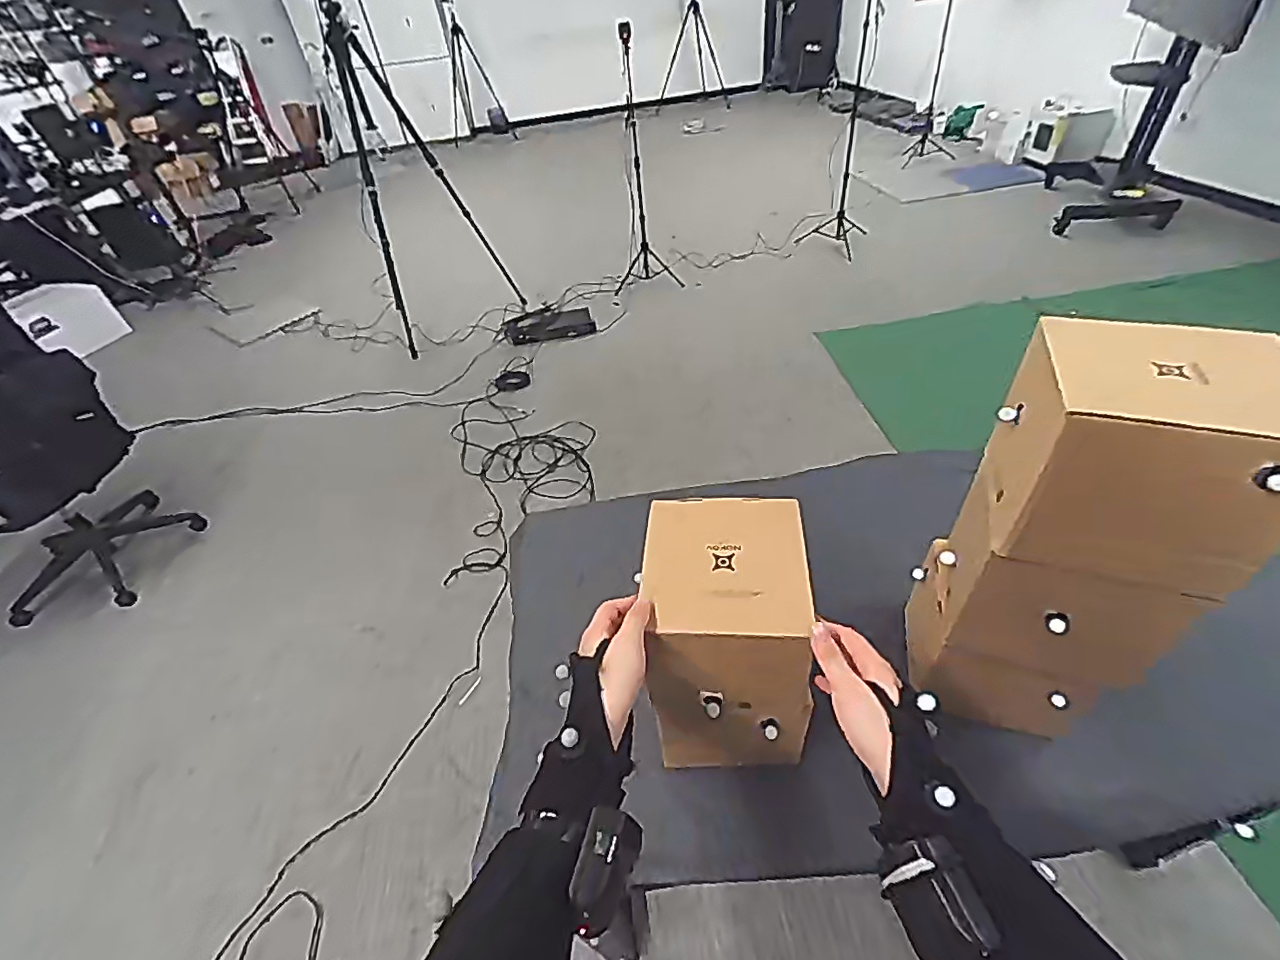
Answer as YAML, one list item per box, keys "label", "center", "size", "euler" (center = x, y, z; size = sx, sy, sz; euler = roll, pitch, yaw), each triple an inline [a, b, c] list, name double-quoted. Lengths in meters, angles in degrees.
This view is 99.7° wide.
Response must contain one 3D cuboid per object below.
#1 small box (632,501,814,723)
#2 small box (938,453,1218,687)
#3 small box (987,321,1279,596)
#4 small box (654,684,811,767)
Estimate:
- label: "small box"
  center: [0.091, 0.143, 0.597]
  size: [0.168, 0.176, 0.179]
  euler: [-2, 44, 10]
- label: "small box"
  center: [0.448, 0.097, 0.588]
  size: [0.179, 0.176, 0.168]
  euler: [13, 46, 22]
- label: "small box"
  center: [0.429, -0.022, 0.479]
  size: [0.179, 0.176, 0.168]
  euler: [12, 45, 19]
- label: "small box"
  center: [0.112, 0.259, 0.709]
  size: [0.179, 0.176, 0.168]
  euler: [-4, 42, 5]
